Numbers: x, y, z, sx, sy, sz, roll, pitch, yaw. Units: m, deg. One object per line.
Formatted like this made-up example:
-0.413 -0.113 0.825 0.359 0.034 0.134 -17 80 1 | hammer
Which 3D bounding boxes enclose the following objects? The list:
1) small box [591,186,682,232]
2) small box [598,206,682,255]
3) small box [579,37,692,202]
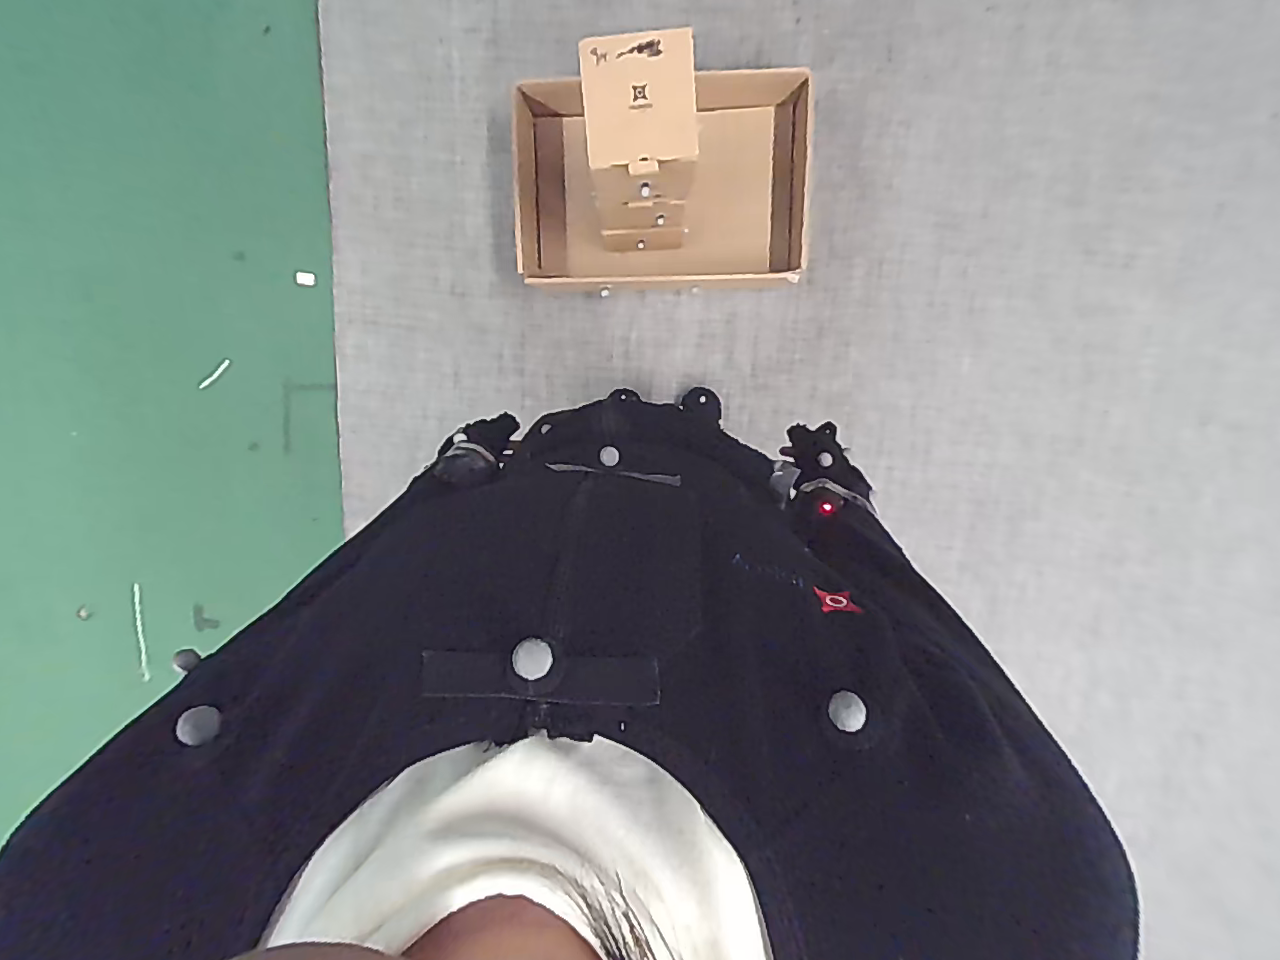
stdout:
-0.002 -0.585 1.033 0.168 0.176 0.179 0 98 1 | small box
0.003 -0.604 1.192 0.179 0.176 0.168 -1 99 5 | small box
-0.001 -0.562 0.870 0.168 0.176 0.179 -2 100 2 | small box
